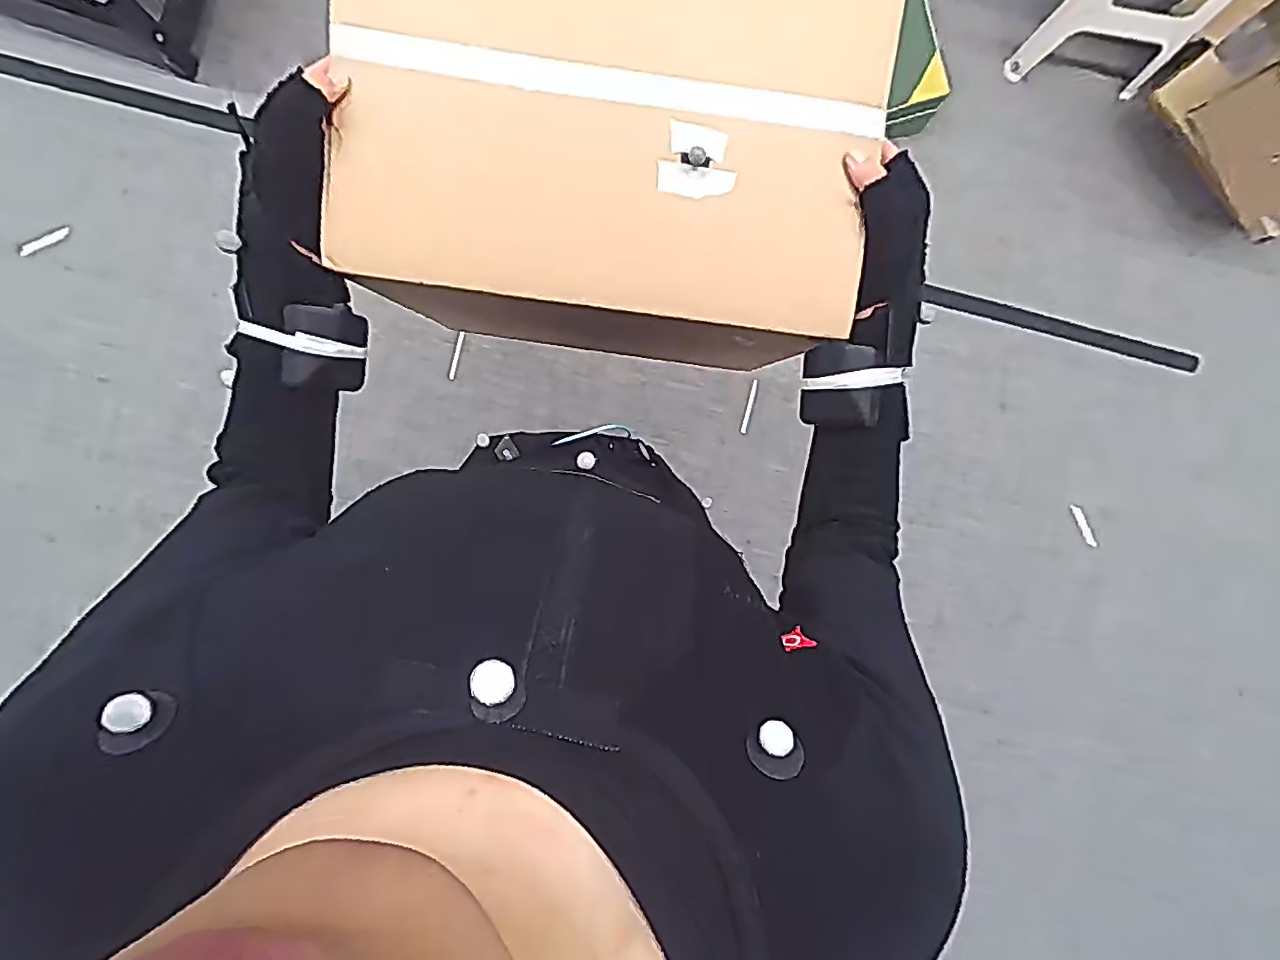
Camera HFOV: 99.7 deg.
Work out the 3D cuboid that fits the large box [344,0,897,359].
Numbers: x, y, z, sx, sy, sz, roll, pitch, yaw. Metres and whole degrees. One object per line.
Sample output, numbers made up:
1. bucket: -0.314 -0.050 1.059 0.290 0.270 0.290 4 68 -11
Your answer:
1. large box: -0.022 -0.314 0.552 0.408 0.320 0.320 7 98 -4
